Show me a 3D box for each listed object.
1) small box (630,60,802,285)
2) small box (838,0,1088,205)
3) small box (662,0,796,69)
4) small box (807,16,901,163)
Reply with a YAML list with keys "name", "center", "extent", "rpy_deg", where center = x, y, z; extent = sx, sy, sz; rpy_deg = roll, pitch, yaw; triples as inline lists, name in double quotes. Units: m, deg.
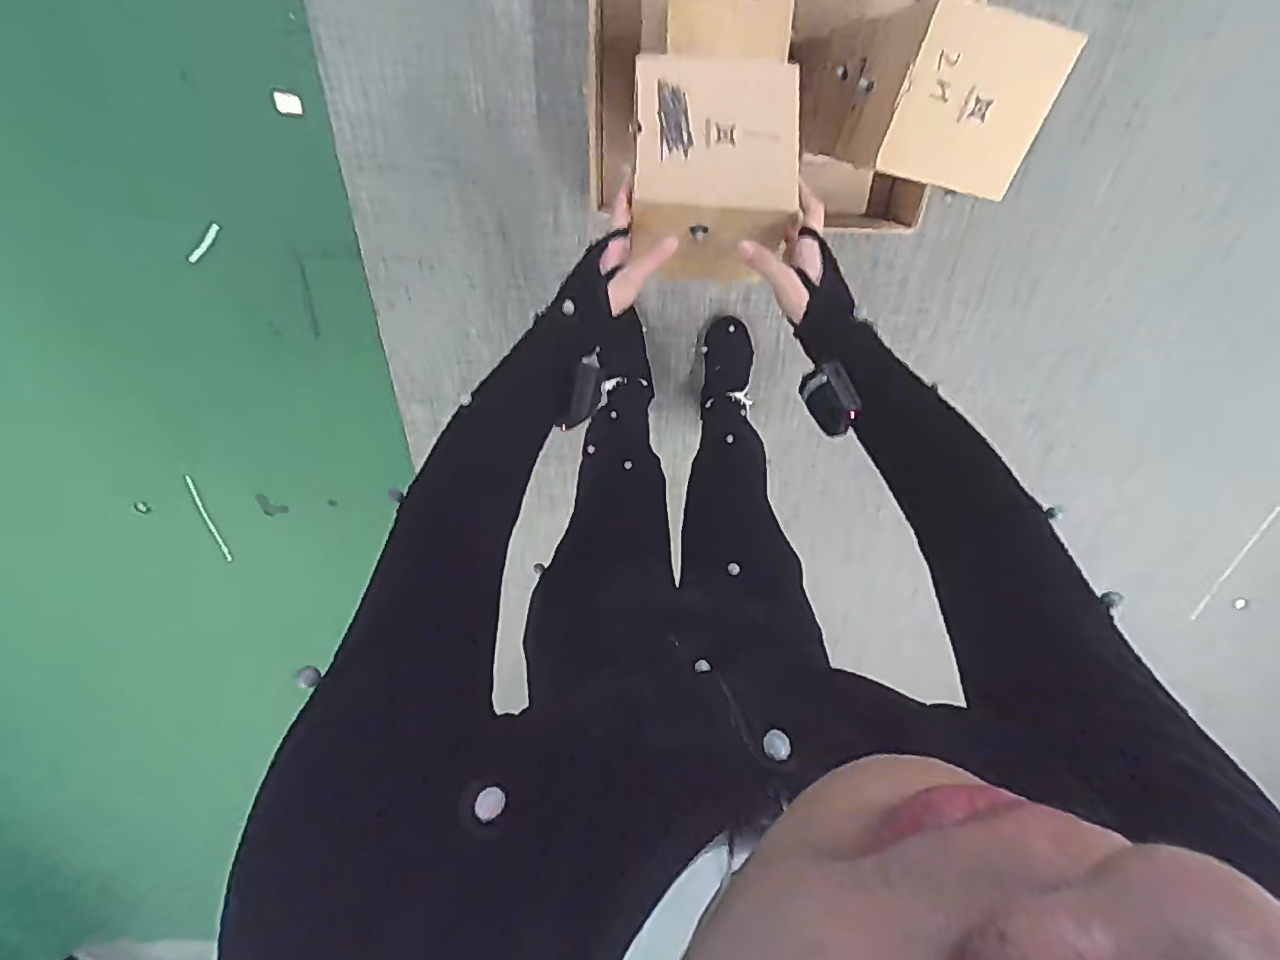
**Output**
- name: "small box"
  center: [0.079, -0.347, 0.640]
  extent: [0.179, 0.176, 0.168]
  rpy_deg: [3, 85, -3]
- name: "small box"
  center: [0.381, -0.465, 0.678]
  extent: [0.179, 0.176, 0.168]
  rpy_deg: [11, 123, -7]
- name: "small box"
  center: [0.118, -0.586, 0.803]
  extent: [0.168, 0.176, 0.179]
  rpy_deg: [-1, 122, -1]
- name: "small box"
  center: [0.373, -0.567, 0.810]
  extent: [0.179, 0.176, 0.168]
  rpy_deg: [5, 123, -2]
